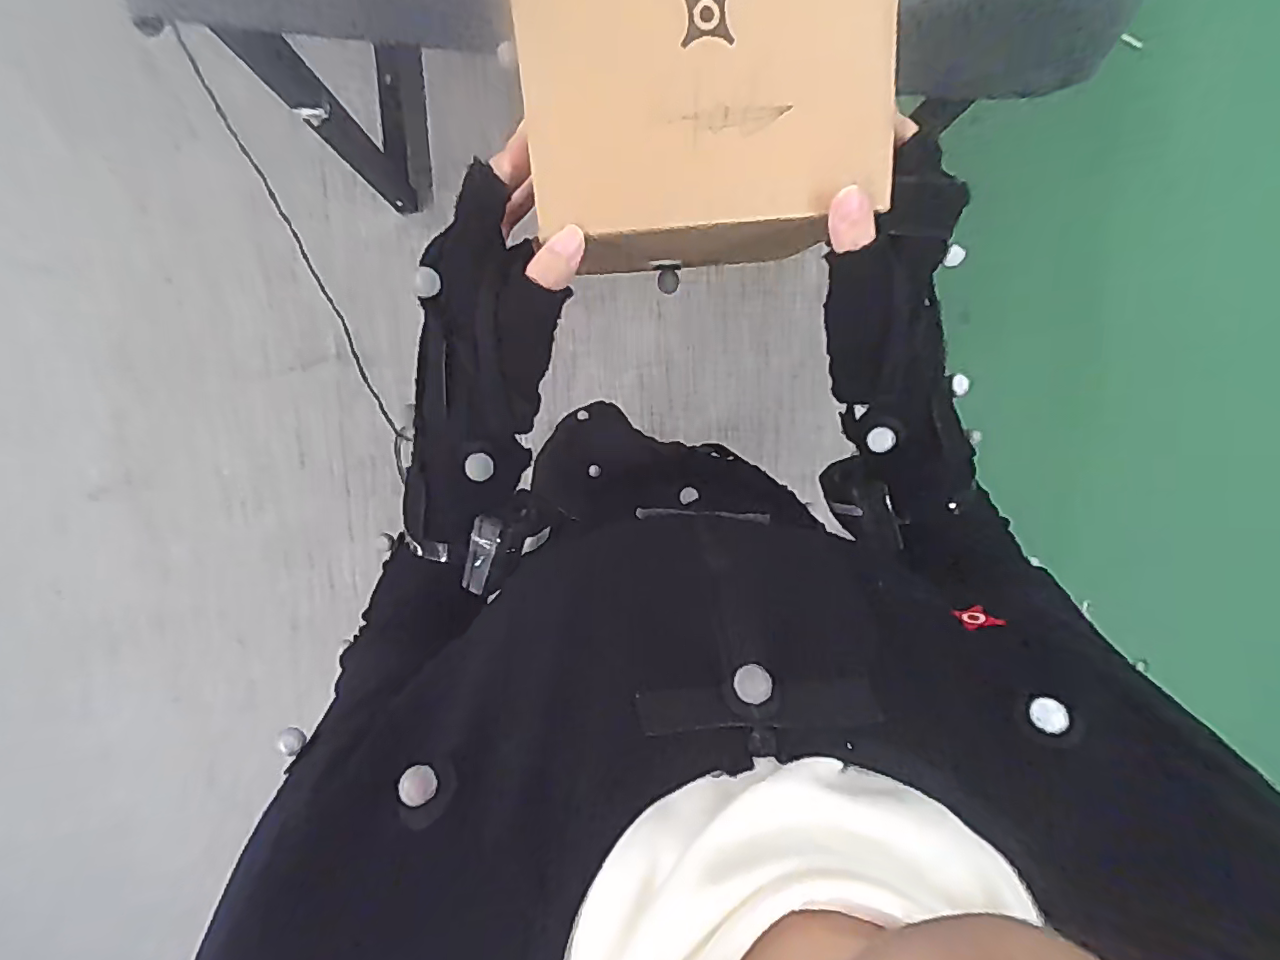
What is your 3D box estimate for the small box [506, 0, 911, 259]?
[{"bbox_3d":[0.023,-0.227,0.288,0.168,0.176,0.179,-5,105,-1],"label":"small box"}]
